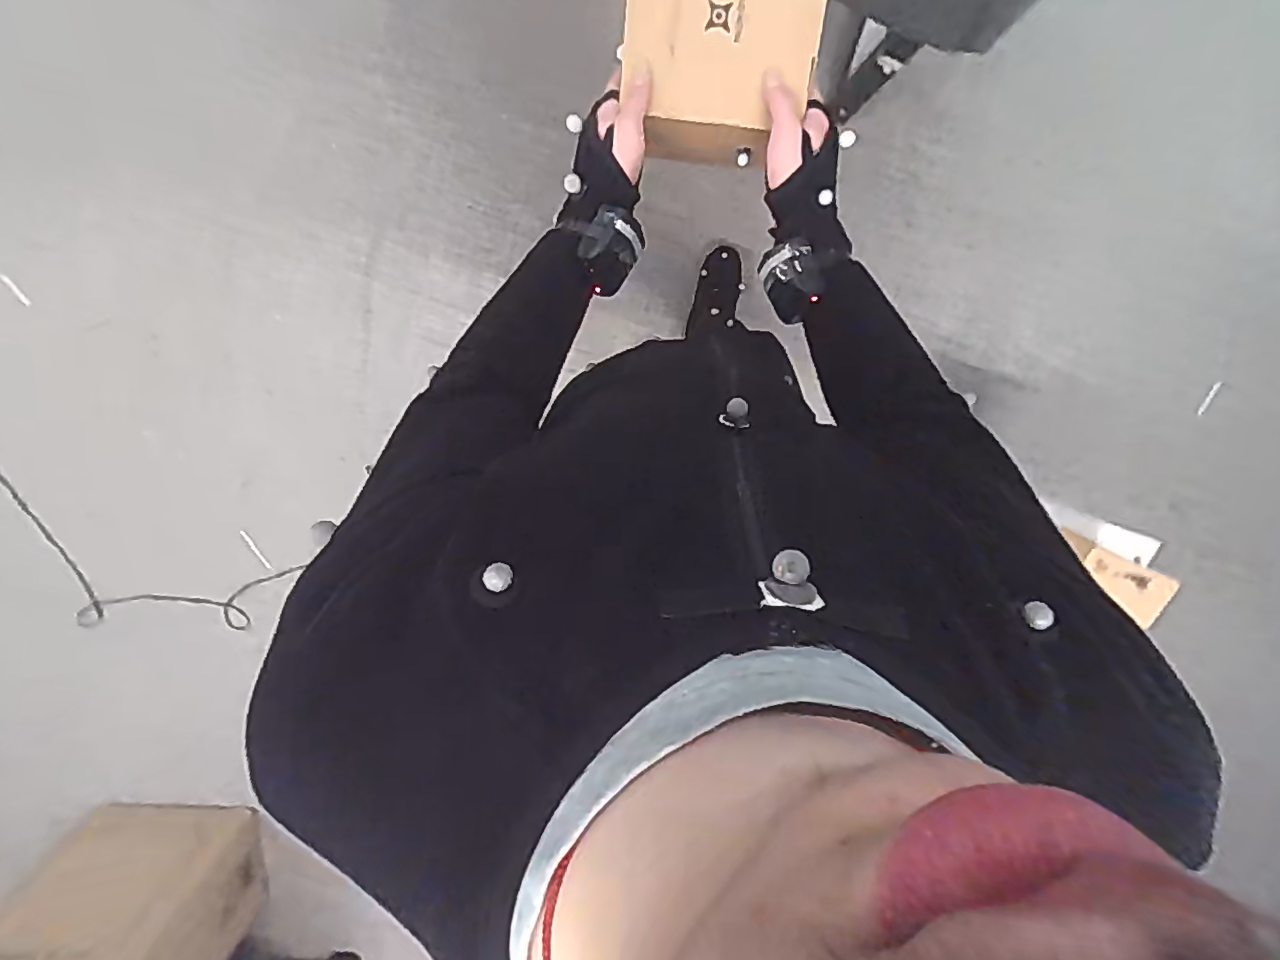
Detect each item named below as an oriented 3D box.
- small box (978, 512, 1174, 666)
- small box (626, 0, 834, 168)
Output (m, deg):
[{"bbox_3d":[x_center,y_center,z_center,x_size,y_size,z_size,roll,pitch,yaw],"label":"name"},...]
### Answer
[{"bbox_3d":[0.735,0.182,0.940,0.168,0.176,0.179,22,104,-9],"label":"small box"},{"bbox_3d":[0.078,-0.425,0.537,0.179,0.176,0.168,3,106,-1],"label":"small box"}]
